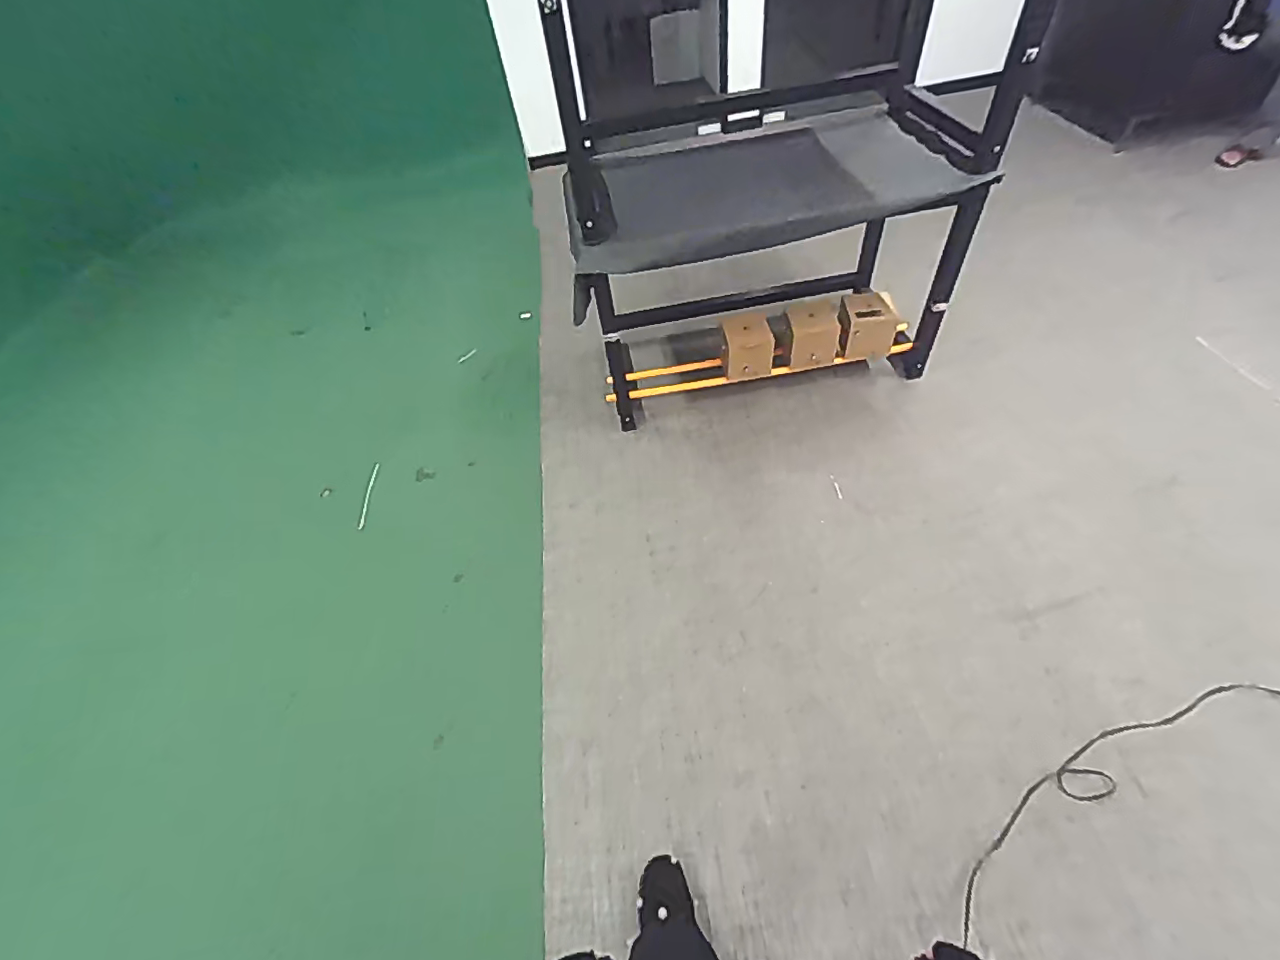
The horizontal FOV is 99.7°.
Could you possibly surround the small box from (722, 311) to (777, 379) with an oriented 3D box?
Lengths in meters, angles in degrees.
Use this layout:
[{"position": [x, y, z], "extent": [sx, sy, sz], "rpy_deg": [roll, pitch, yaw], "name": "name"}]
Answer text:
[{"position": [0.402, -0.502, 2.022], "extent": [0.168, 0.176, 0.179], "rpy_deg": [-8, 53, 1], "name": "small box"}]
